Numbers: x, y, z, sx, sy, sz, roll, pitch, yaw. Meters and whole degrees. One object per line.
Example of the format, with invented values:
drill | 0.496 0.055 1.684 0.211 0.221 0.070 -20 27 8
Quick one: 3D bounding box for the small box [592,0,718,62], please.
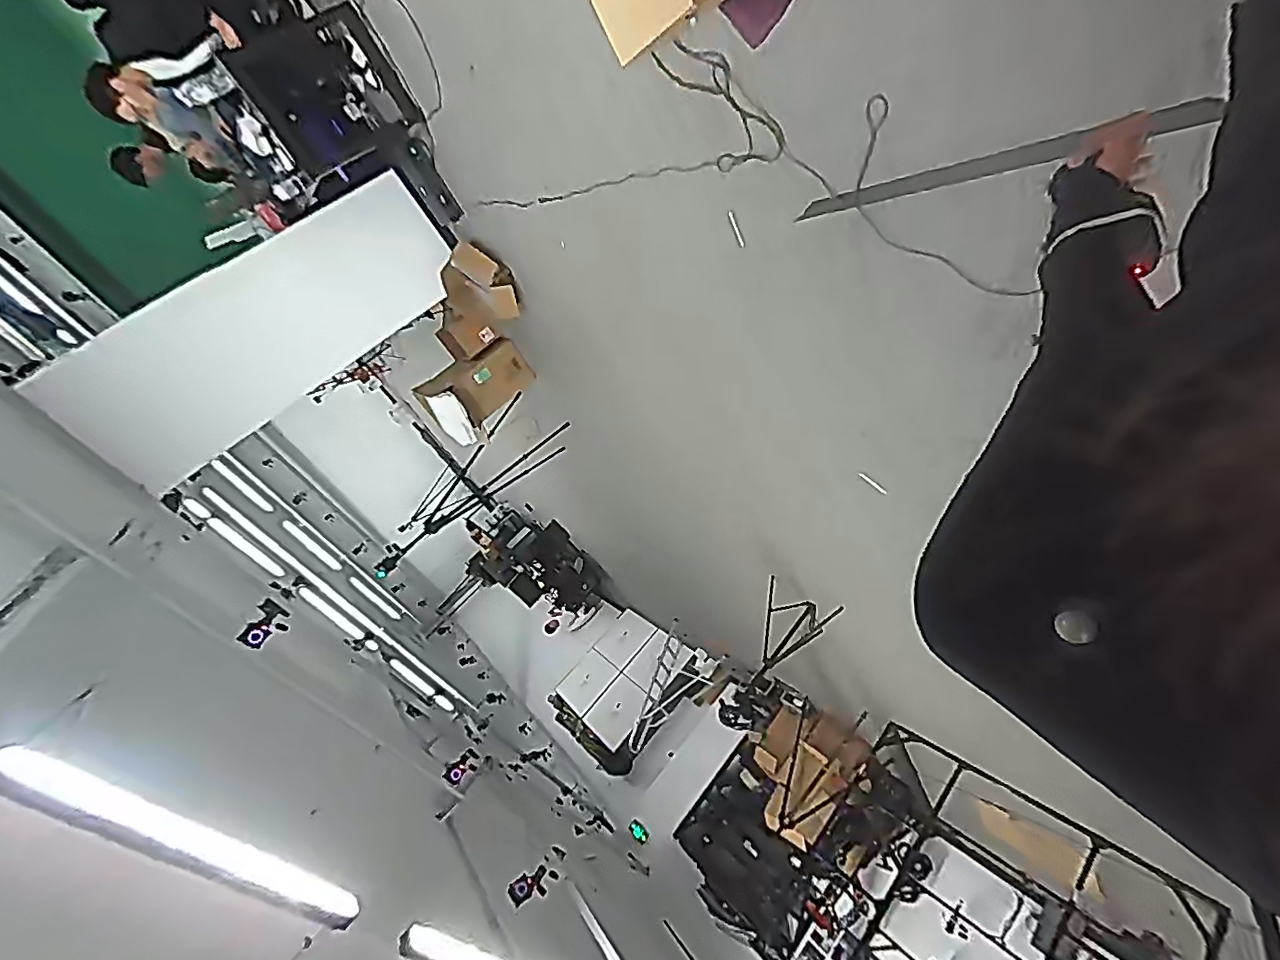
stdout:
small box | 0.034 -0.735 0.746 0.179 0.176 0.168 13 144 54
